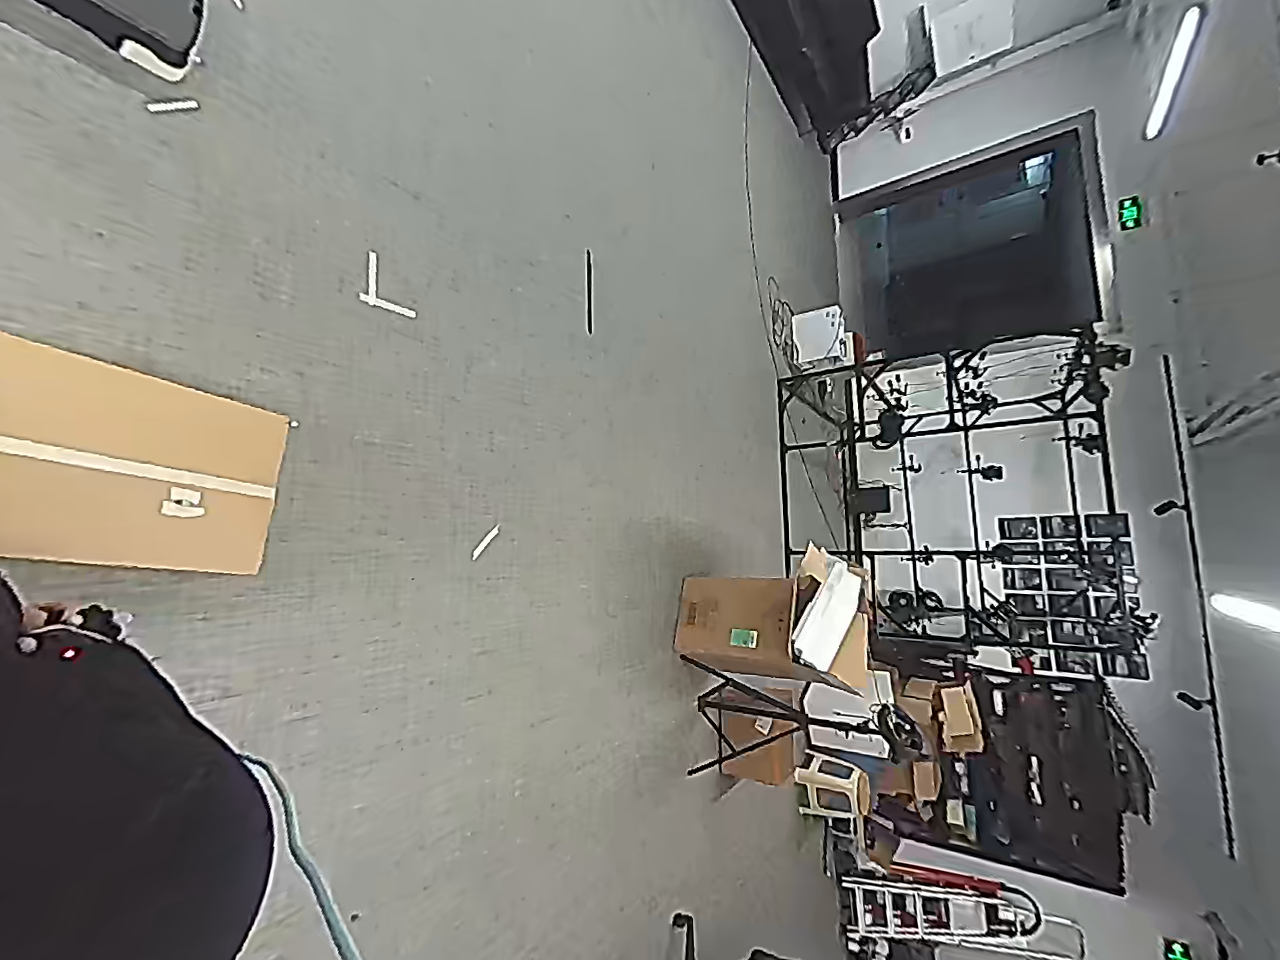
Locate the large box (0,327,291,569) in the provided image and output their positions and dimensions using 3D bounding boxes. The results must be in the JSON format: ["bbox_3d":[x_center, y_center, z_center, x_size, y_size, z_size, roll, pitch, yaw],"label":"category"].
[{"bbox_3d":[-0.921,-0.014,0.941,0.408,0.320,0.320,23,67,-55],"label":"large box"}]
